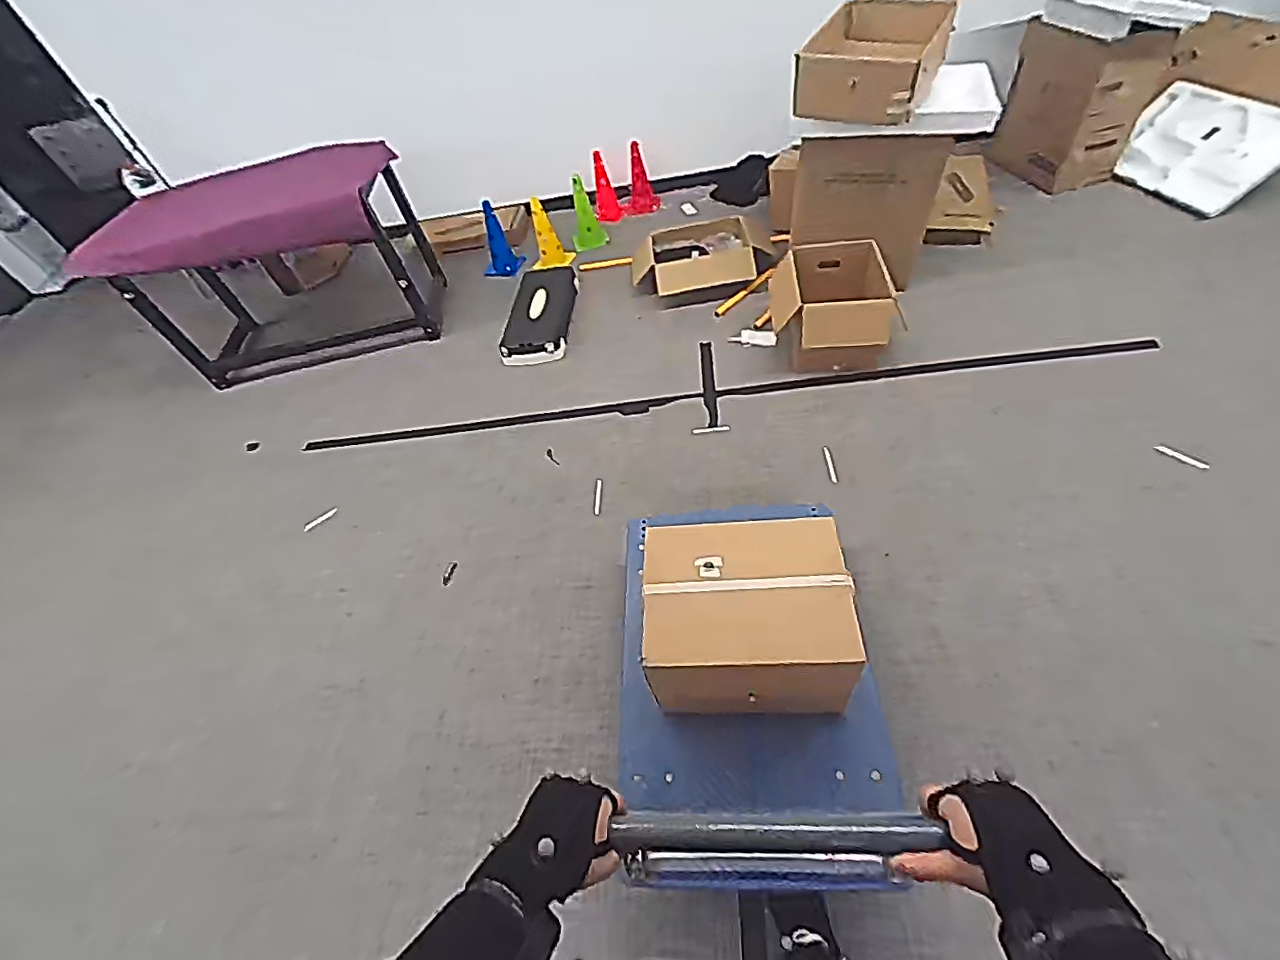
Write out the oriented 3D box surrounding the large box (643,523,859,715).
[{"bbox_3d":[0.231,0.322,1.208,0.408,0.320,0.320,-5,50,9],"label":"large box"}]
